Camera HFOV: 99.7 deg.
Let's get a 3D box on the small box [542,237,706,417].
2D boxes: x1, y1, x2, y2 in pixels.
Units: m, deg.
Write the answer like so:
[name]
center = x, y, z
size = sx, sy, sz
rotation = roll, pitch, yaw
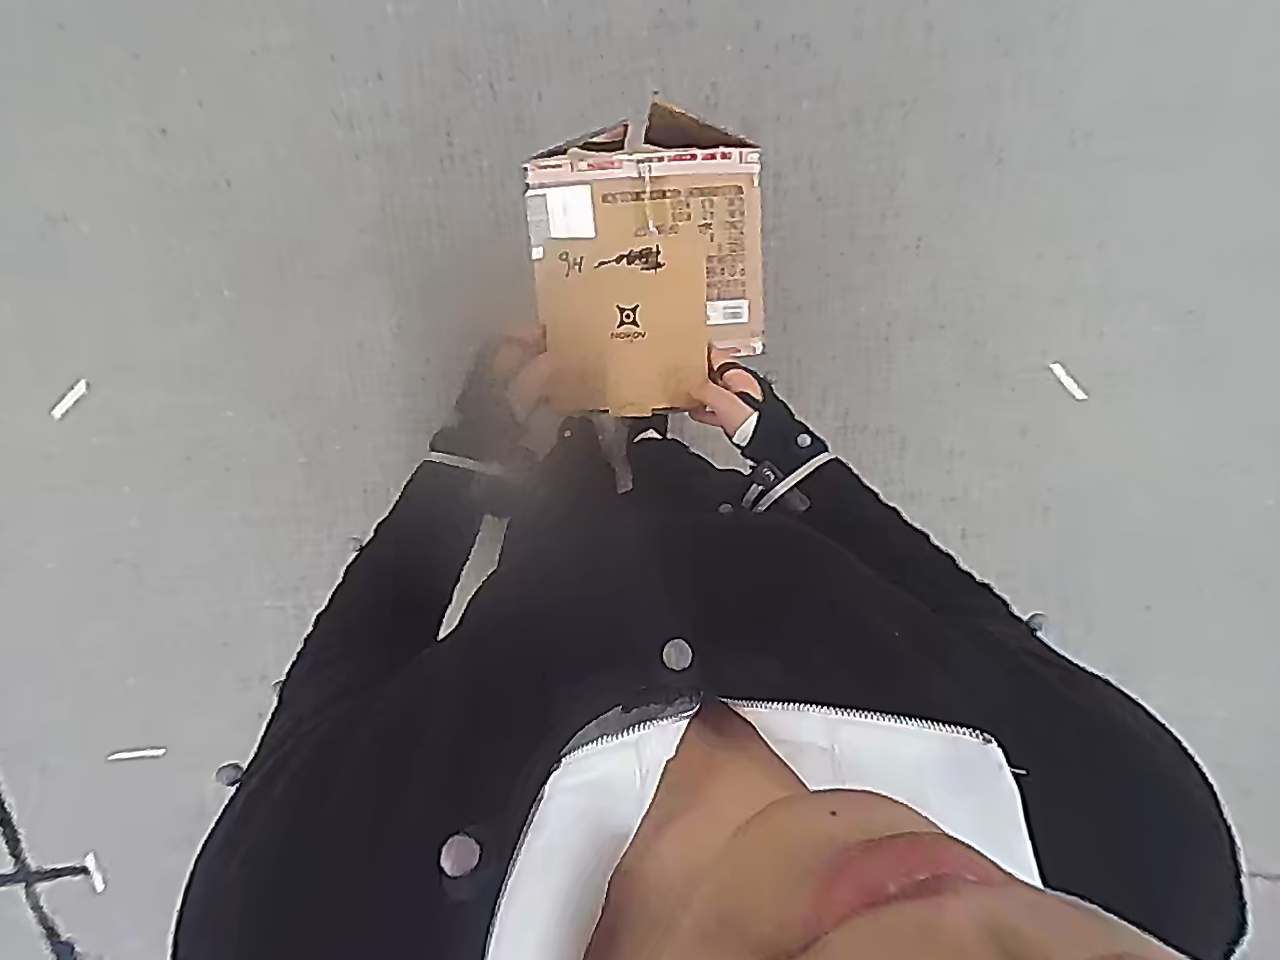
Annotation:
[small box]
center = -0.018, -0.165, 0.632
size = 0.168, 0.176, 0.179
rotation = -3, 96, -3
